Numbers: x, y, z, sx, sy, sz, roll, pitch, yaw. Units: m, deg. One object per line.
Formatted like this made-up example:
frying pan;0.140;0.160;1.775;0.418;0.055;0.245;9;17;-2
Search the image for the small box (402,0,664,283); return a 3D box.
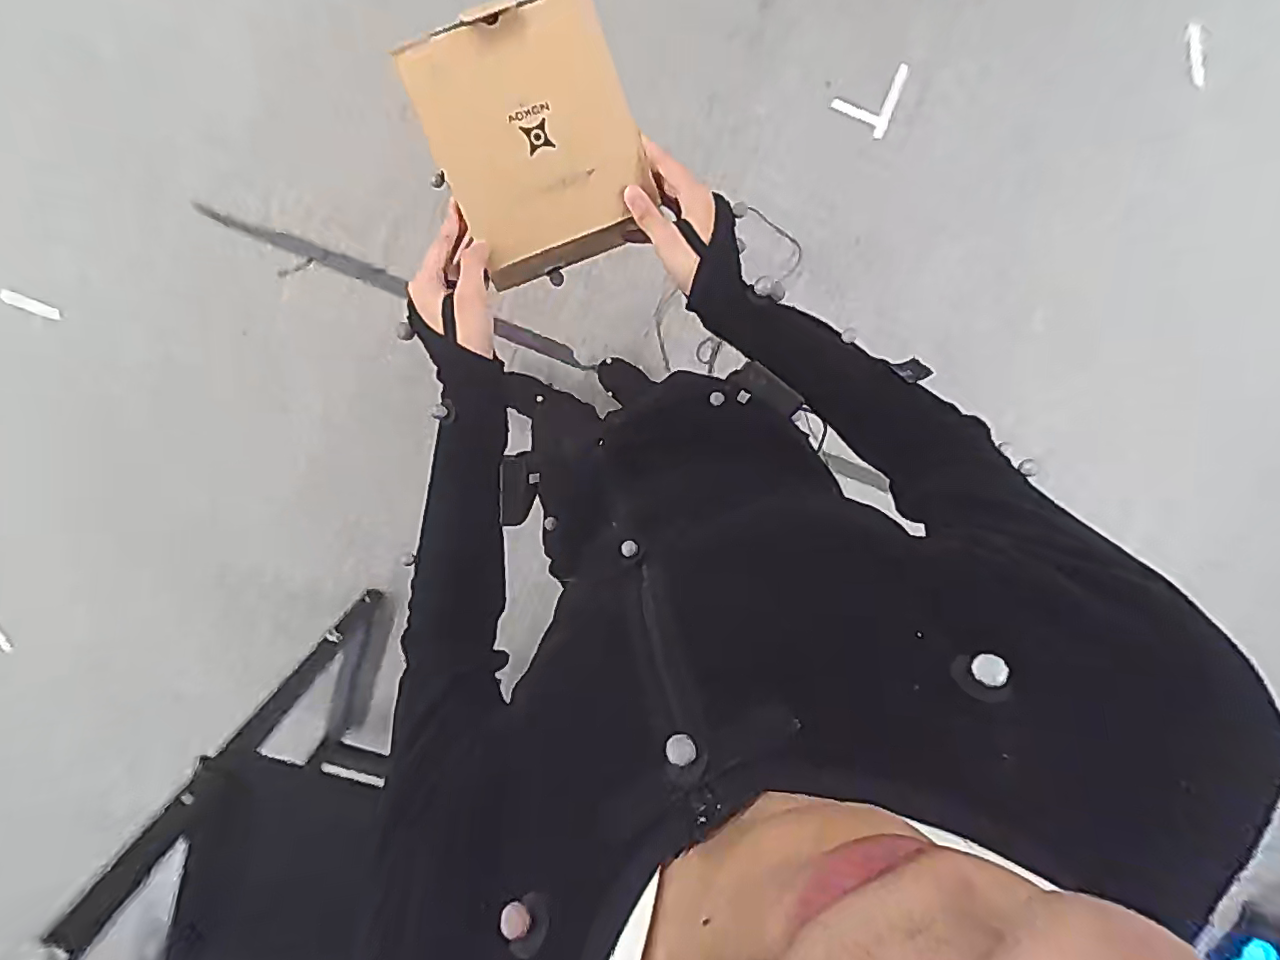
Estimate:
small box;-0.097;-0.309;0.517;0.168;0.176;0.179;-22;105;-6
